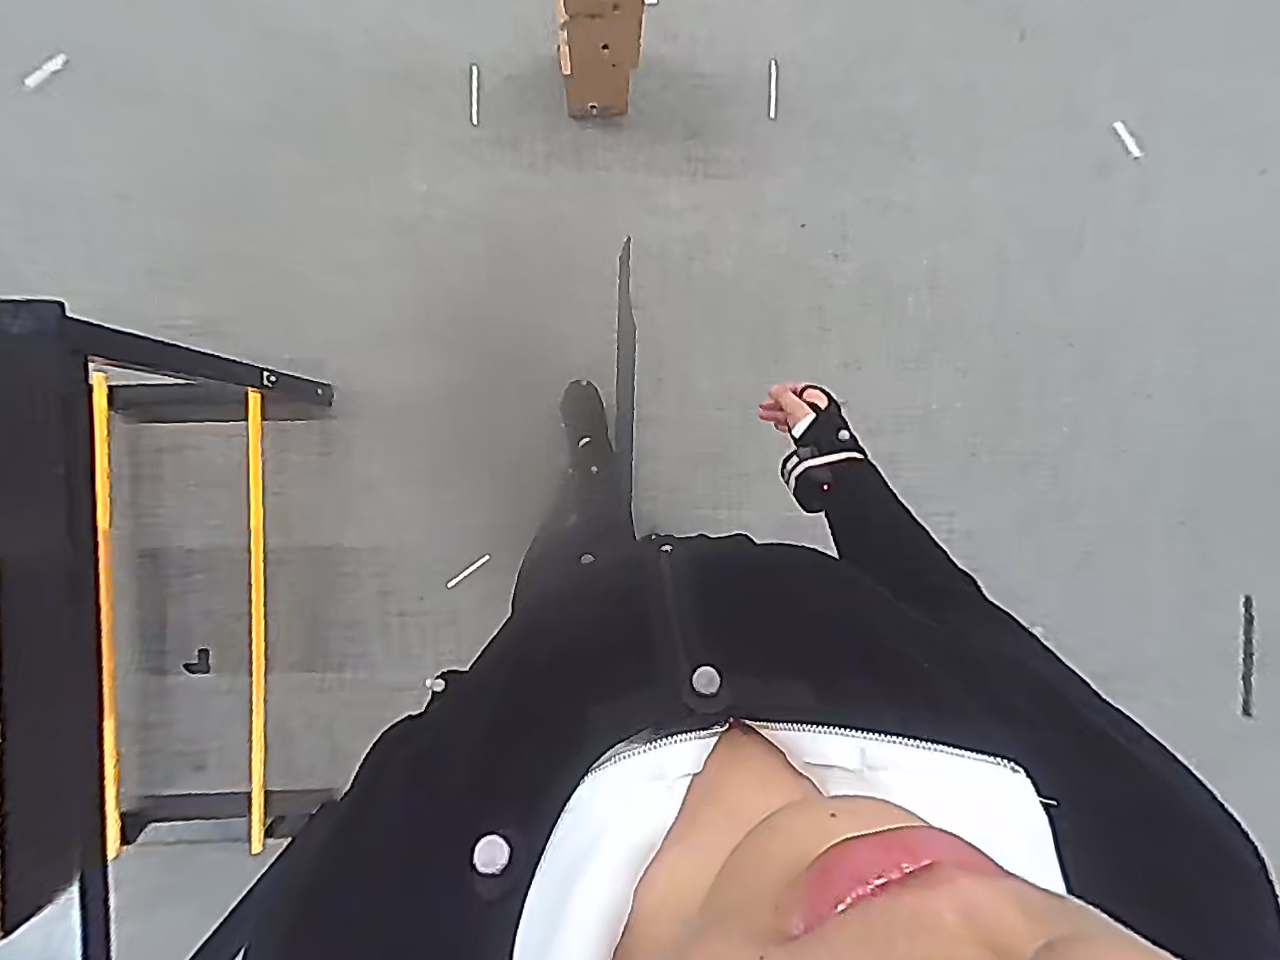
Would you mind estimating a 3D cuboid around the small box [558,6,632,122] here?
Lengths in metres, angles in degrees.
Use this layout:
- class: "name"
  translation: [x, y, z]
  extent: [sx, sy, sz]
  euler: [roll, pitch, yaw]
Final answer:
- class: "small box"
  translation: [-0.110, -1.050, 1.368]
  extent: [0.168, 0.176, 0.179]
  euler: [-6, 93, -1]

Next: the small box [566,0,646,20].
- class: "small box"
  translation: [-0.070, -1.043, 1.041]
  extent: [0.168, 0.176, 0.179]
  euler: [-2, 92, -1]

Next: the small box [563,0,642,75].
- class: "small box"
  translation: [-0.085, -1.044, 1.206]
  extent: [0.168, 0.176, 0.179]
  euler: [-7, 92, -2]
